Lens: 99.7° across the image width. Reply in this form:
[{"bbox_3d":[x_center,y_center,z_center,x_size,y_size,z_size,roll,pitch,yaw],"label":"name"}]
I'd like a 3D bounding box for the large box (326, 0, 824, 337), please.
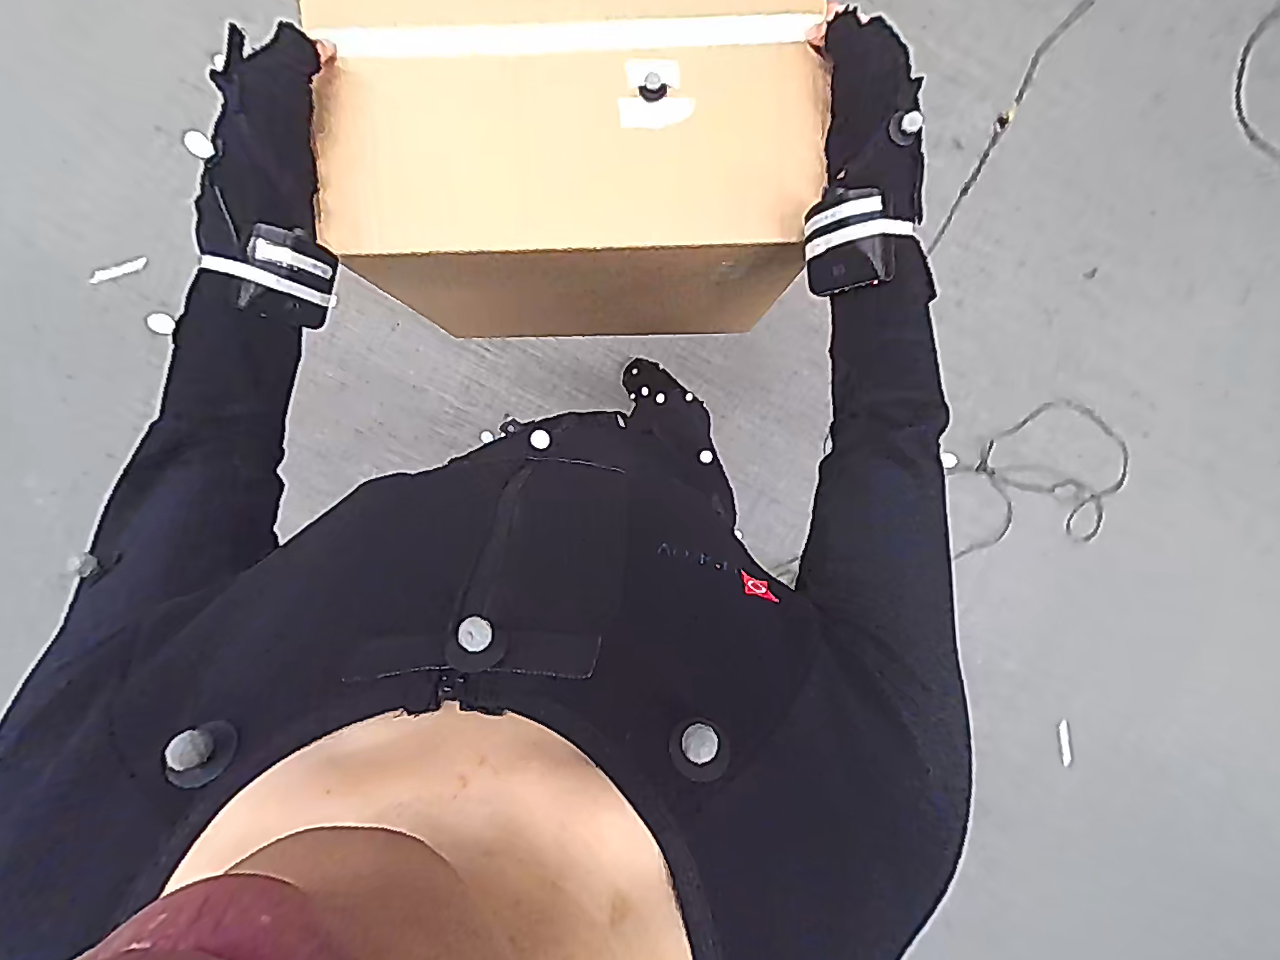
[{"bbox_3d":[-0.056,-0.353,0.585,0.408,0.320,0.320,-2,93,0],"label":"large box"}]
